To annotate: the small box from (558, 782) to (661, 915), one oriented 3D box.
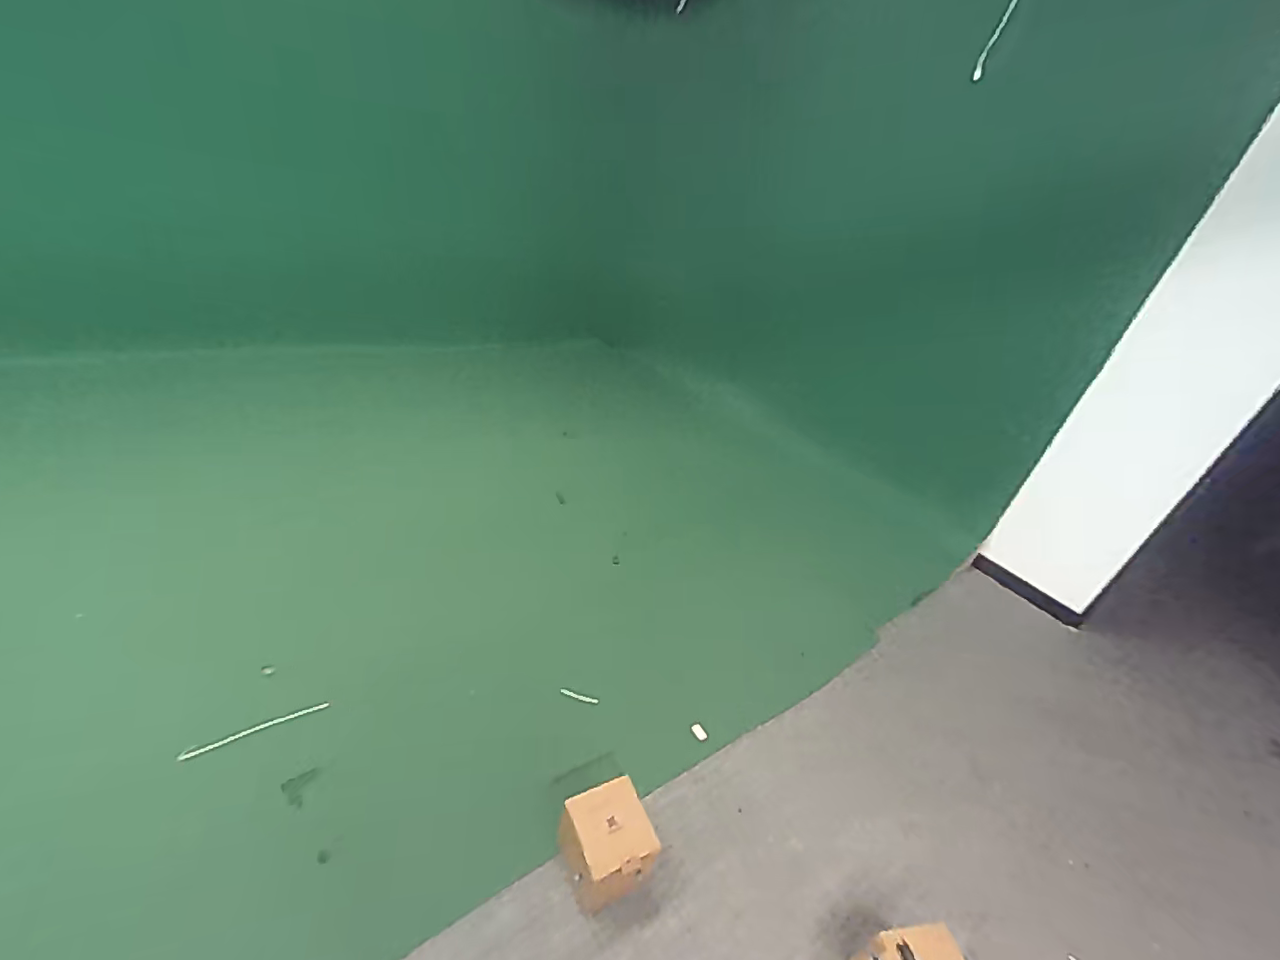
[{"bbox_3d":[-0.076,0.840,1.228,0.168,0.176,0.179,-6,35,-31],"label":"small box"}]
